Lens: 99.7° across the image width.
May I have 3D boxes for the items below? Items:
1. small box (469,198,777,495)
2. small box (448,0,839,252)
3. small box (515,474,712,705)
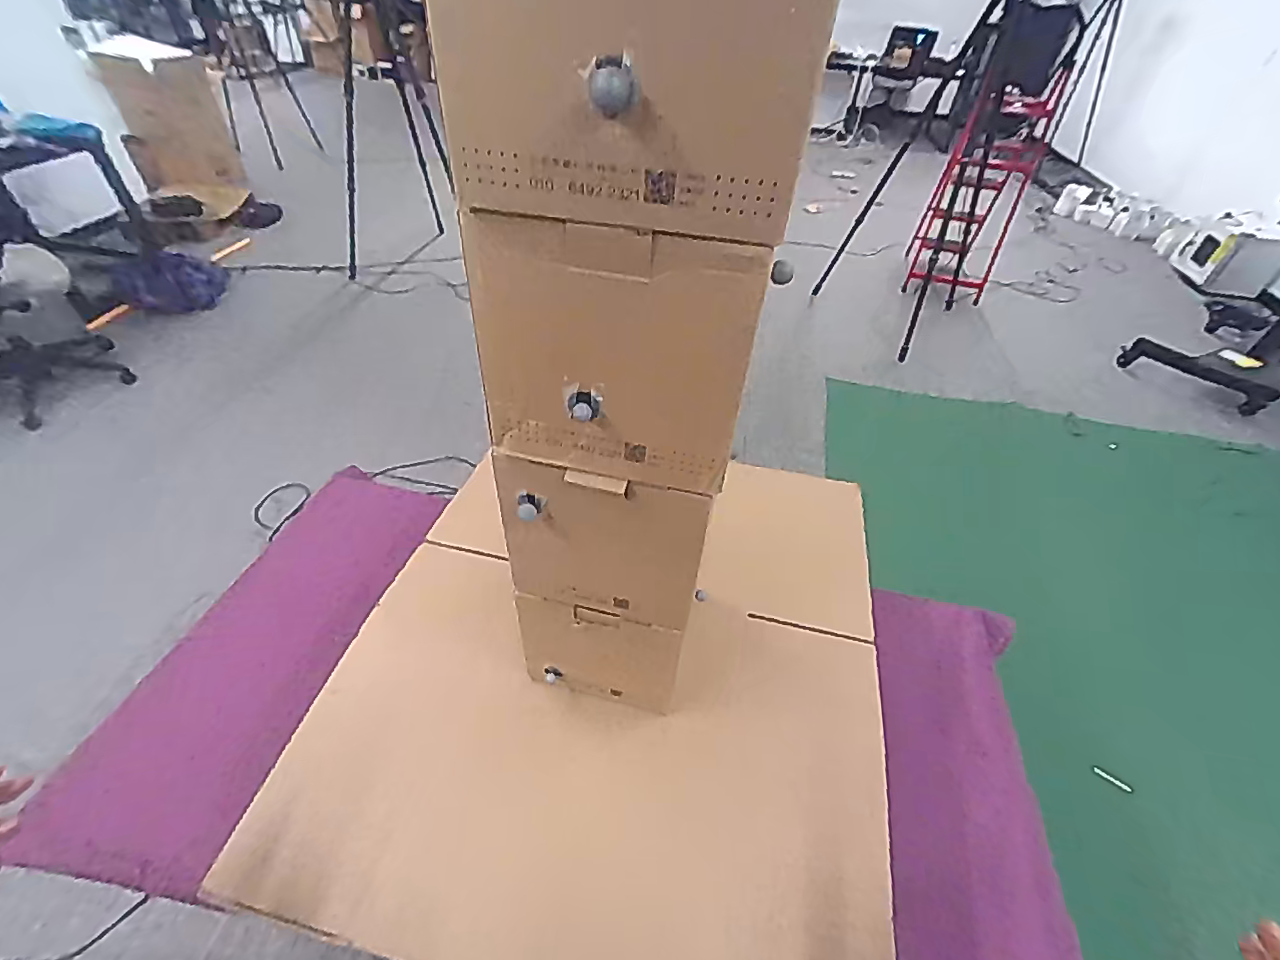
[{"bbox_3d":[0.000,-0.118,0.388,0.168,0.176,0.179,11,43,7],"label":"small box"},{"bbox_3d":[0.009,-0.238,0.276,0.168,0.176,0.179,10,43,6],"label":"small box"},{"bbox_3d":[-0.022,0.124,0.608,0.168,0.176,0.179,12,43,8],"label":"small box"}]
